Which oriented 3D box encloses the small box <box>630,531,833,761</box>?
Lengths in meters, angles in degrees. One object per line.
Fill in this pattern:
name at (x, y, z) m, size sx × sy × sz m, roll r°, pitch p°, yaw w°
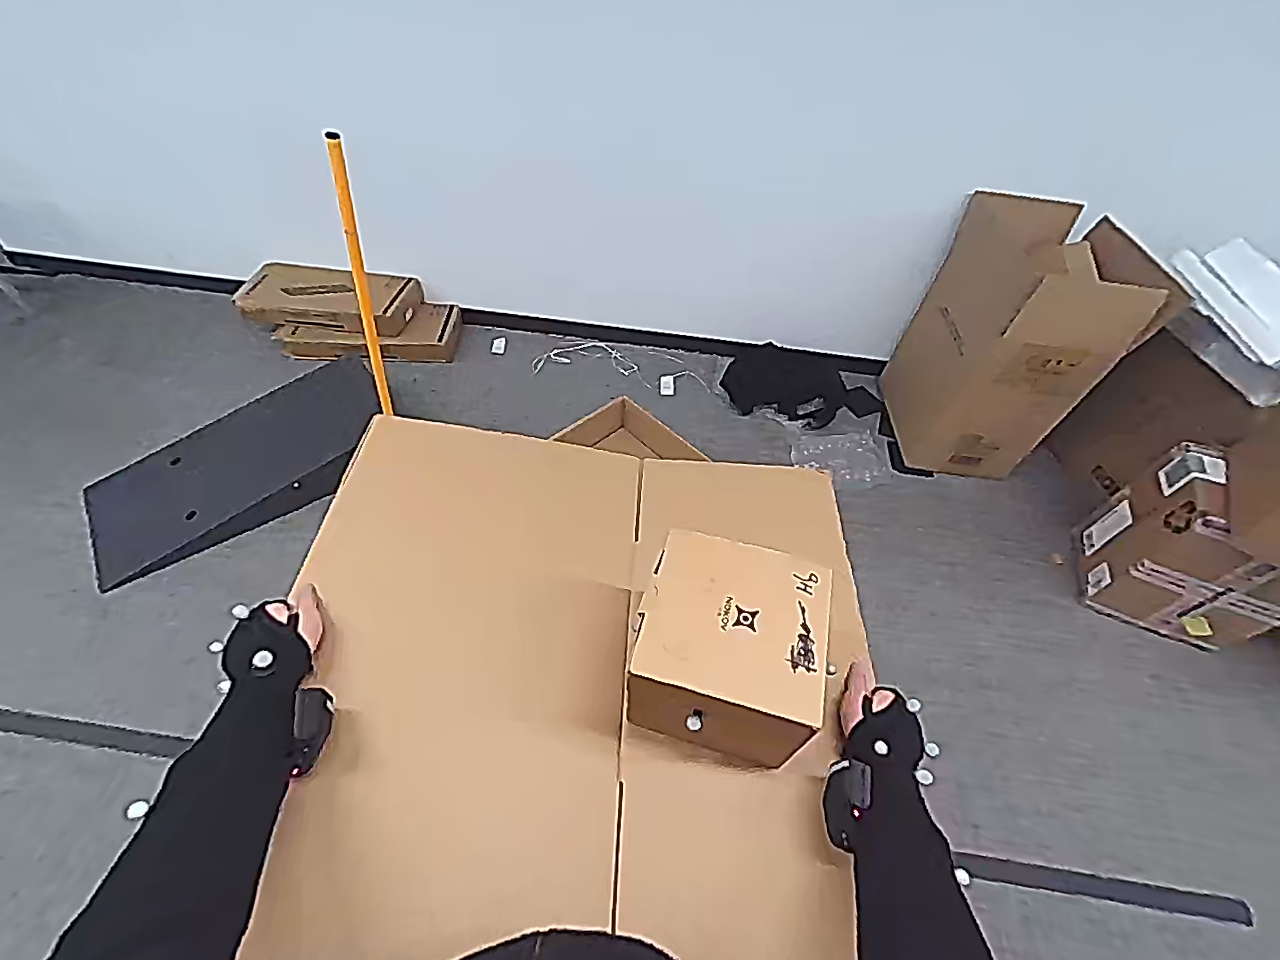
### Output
small box at (0.095, 0.184, 0.590) m, size 0.179 × 0.176 × 0.168 m, roll 13°, pitch 52°, yaw 10°
